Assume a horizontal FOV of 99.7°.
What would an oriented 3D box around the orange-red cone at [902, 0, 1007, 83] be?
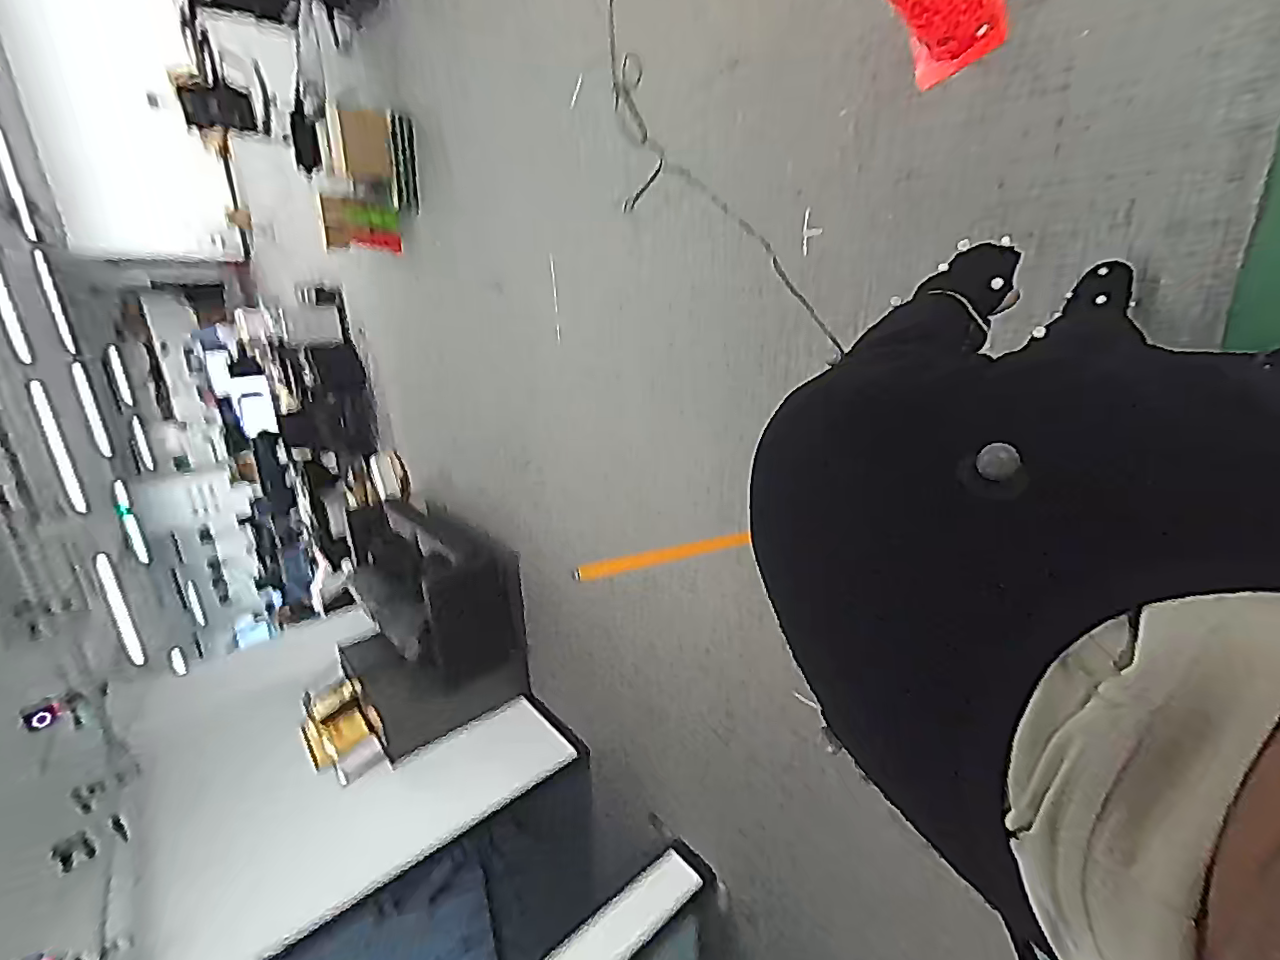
[{"bbox_3d":[0.636,-1.068,1.194,0.198,0.360,0.199,-3,99,51],"label":"orange-red cone"}]
